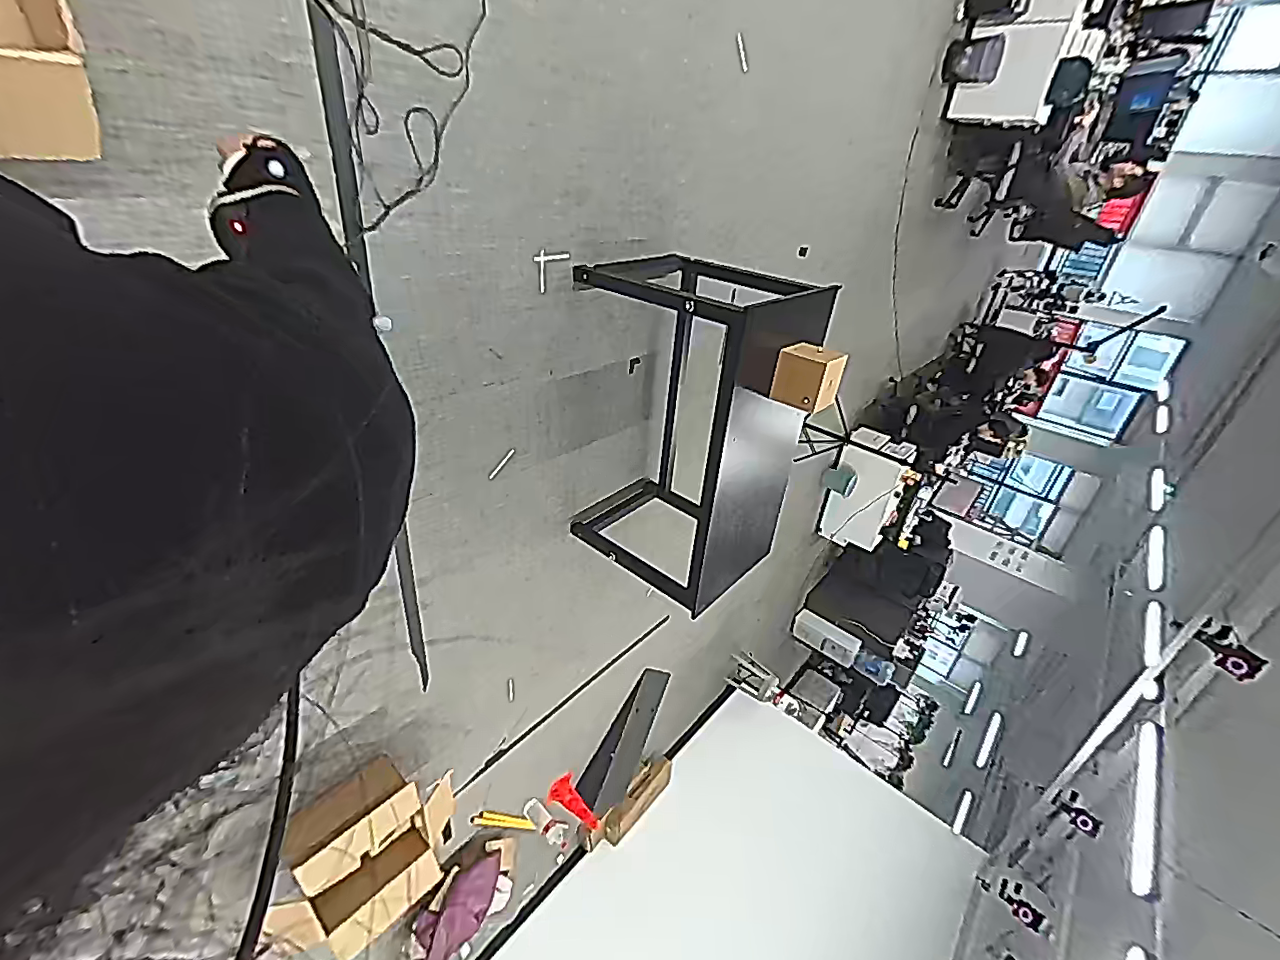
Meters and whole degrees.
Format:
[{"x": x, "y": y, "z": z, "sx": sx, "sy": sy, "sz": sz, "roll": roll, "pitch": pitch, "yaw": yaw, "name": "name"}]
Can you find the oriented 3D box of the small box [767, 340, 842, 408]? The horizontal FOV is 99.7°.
[{"x": 0.545, "y": -0.362, "z": 1.811, "sx": 0.168, "sy": 0.176, "sz": 0.179, "roll": -26, "pitch": 133, "yaw": -43, "name": "small box"}]
